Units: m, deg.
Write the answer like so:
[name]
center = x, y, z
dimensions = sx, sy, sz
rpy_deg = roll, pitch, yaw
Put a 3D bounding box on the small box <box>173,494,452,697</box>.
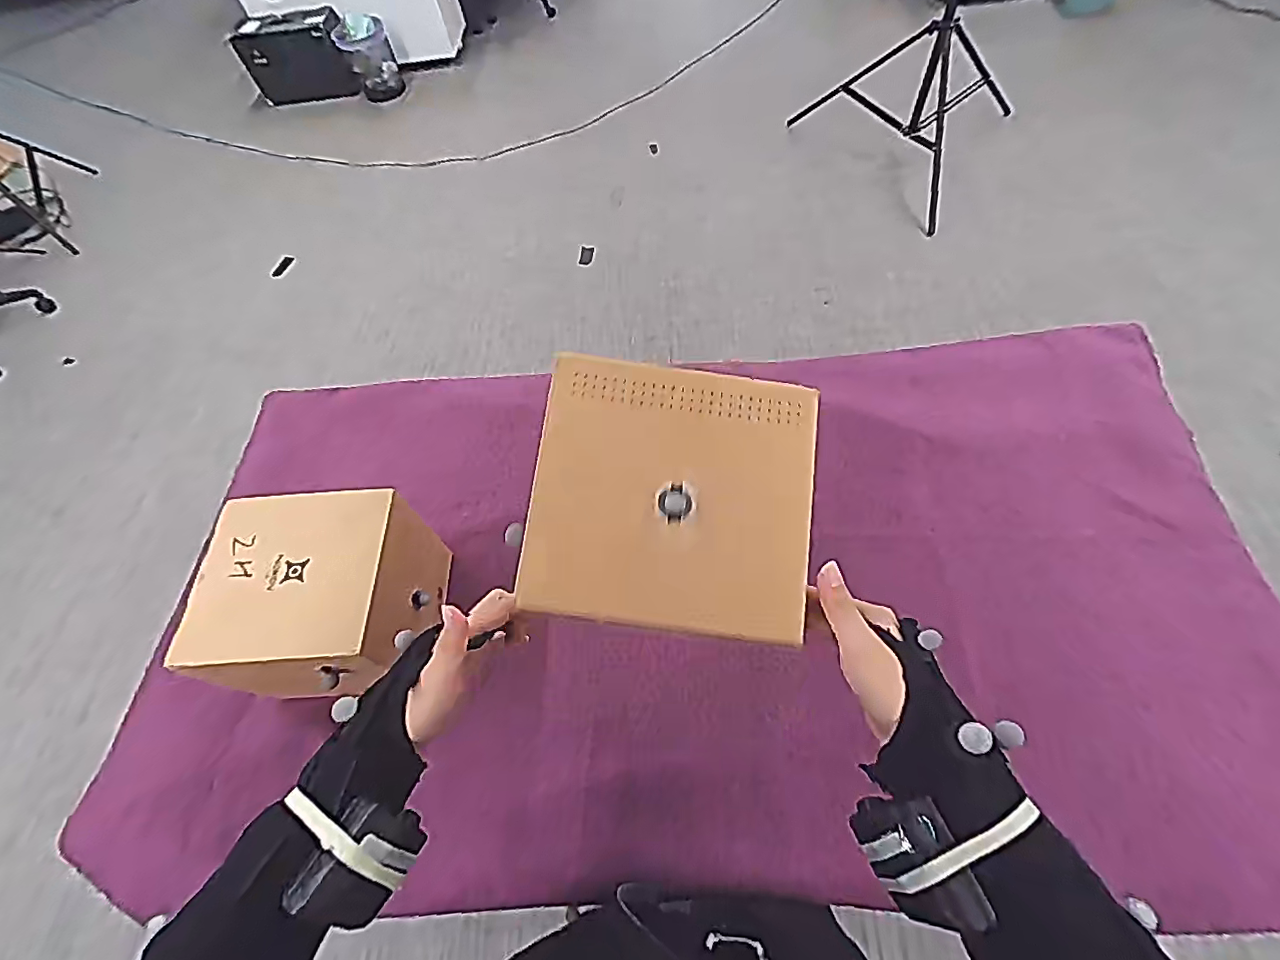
[small box]
center = -0.318, 0.129, 0.575
dimensions = 0.179, 0.176, 0.168
rpy_deg = -4, 58, 1
